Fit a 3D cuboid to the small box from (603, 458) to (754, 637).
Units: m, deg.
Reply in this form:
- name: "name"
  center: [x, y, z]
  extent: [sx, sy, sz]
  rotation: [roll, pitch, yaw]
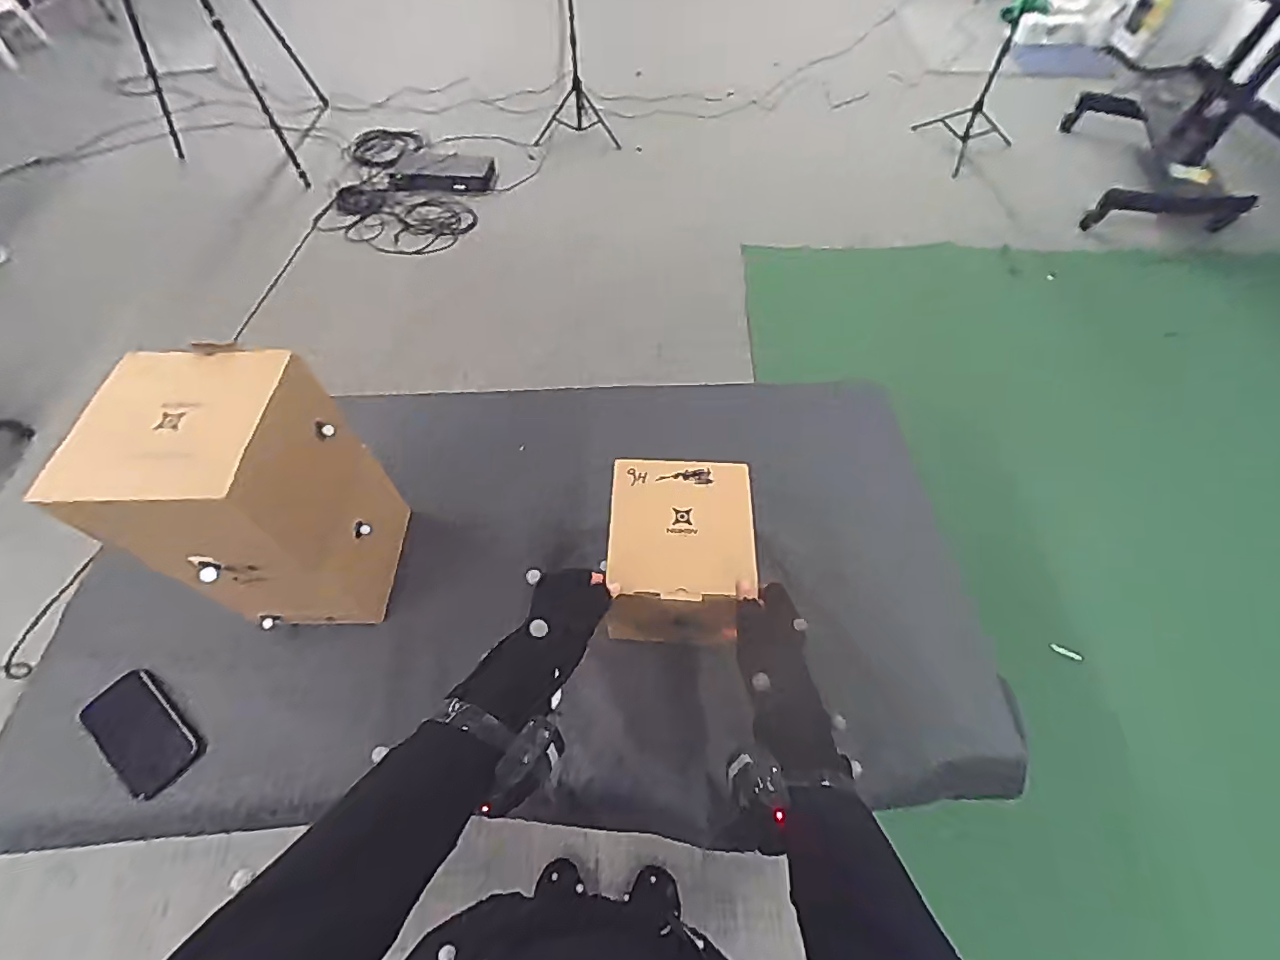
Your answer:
- name: "small box"
  center: [0.047, 0.091, 0.686]
  extent: [0.168, 0.176, 0.179]
  rotation: [2, 58, 2]

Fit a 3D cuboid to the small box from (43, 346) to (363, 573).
- name: "small box"
  center: [-0.416, -0.017, 0.560]
  extent: [0.168, 0.176, 0.179]
  rotation: [-1, 58, 0]

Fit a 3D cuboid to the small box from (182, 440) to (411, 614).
- name: "small box"
  center: [-0.418, 0.066, 0.699]
  extent: [0.168, 0.176, 0.179]
  rotation: [0, 56, 0]
